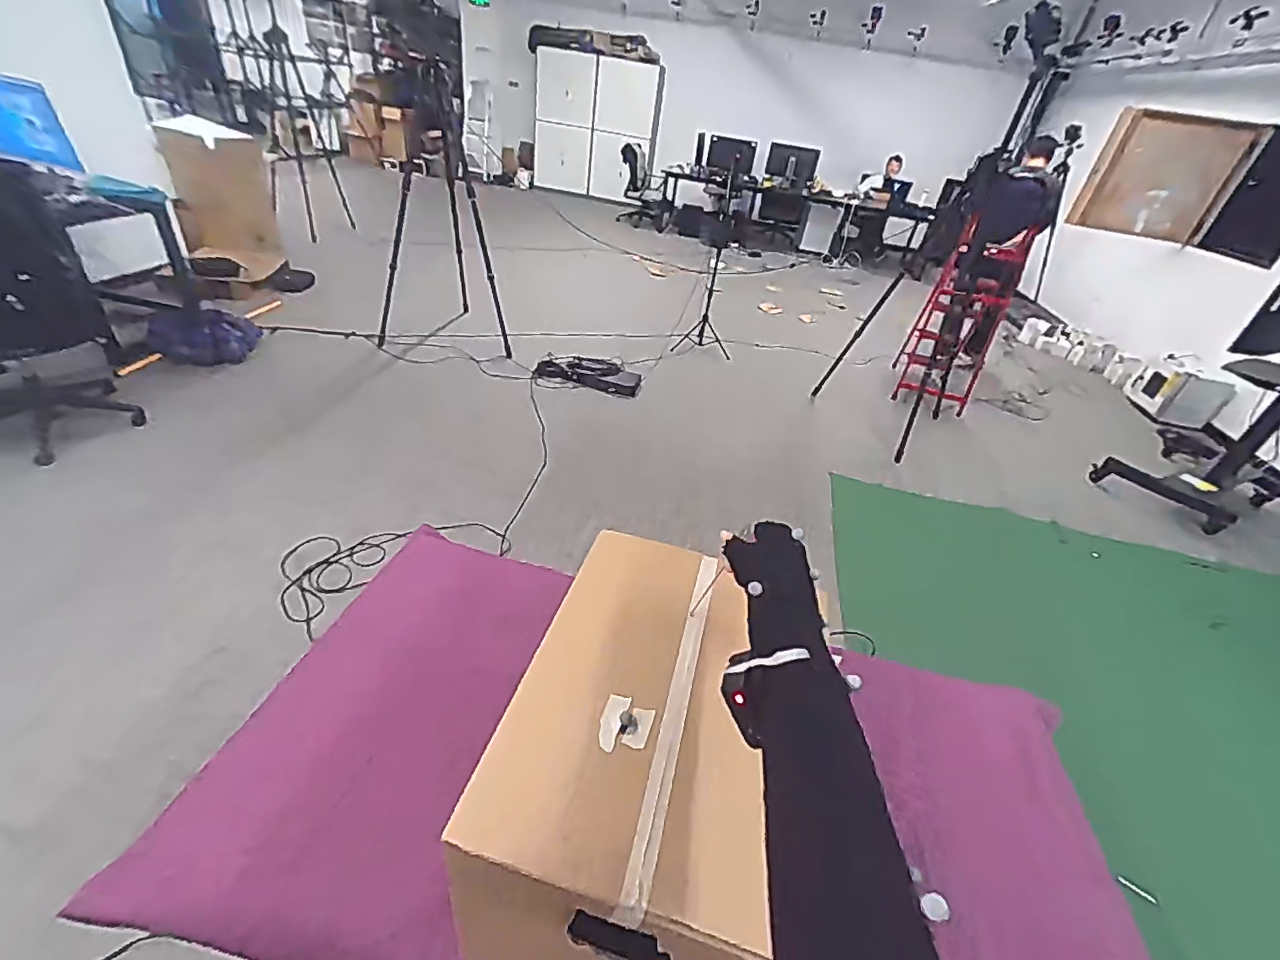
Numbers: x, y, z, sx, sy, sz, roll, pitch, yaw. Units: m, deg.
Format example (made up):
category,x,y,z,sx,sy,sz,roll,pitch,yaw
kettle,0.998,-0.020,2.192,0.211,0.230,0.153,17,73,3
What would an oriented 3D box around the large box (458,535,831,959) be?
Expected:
category,x,y,z,sx,sy,sz,roll,pitch,yaw
large box,0.022,0.340,0.662,0.320,0.320,0.408,15,36,8
